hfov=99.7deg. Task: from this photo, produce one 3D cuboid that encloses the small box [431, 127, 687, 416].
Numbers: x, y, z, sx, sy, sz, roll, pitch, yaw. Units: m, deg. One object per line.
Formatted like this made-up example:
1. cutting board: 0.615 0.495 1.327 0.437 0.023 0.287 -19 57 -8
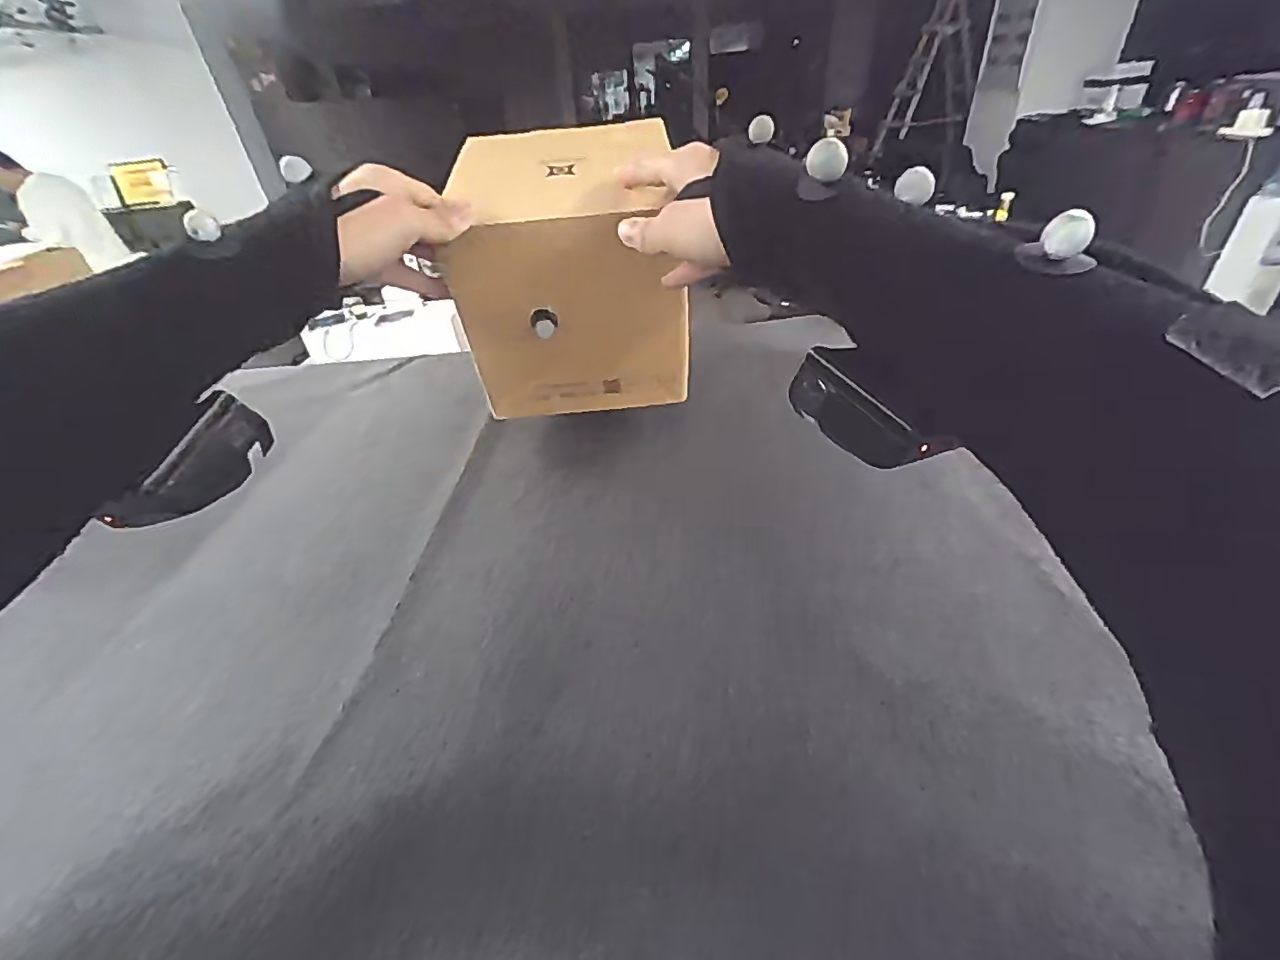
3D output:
1. small box: -0.051 -0.167 0.454 0.168 0.176 0.179 -5 48 0
